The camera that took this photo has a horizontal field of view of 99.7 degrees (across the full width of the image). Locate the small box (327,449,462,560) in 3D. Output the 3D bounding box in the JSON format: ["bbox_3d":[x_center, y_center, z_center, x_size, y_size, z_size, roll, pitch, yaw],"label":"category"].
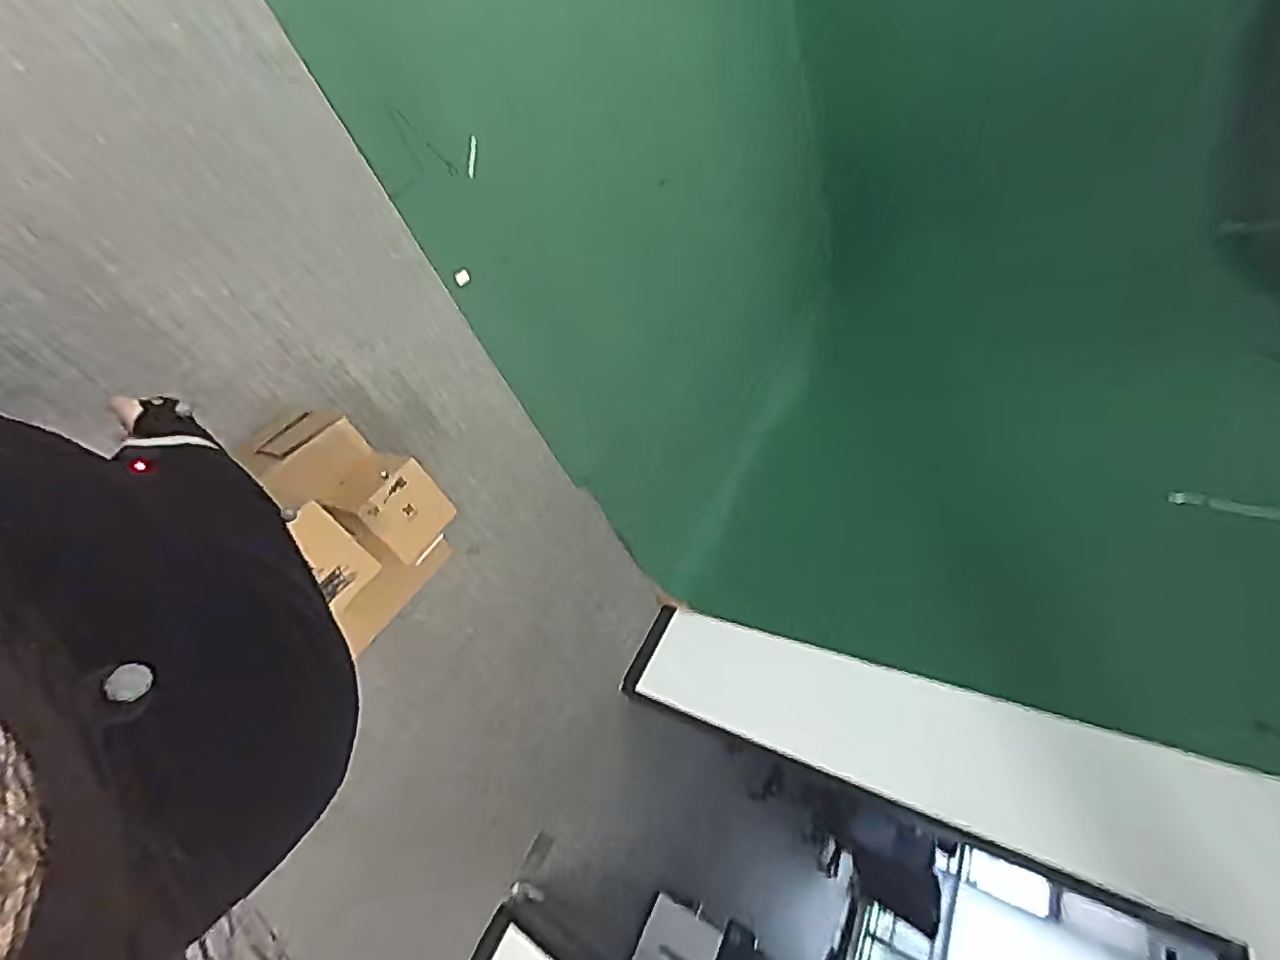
[{"bbox_3d":[-0.545,0.047,1.206,0.168,0.176,0.179,-55,137,-32],"label":"small box"}]
